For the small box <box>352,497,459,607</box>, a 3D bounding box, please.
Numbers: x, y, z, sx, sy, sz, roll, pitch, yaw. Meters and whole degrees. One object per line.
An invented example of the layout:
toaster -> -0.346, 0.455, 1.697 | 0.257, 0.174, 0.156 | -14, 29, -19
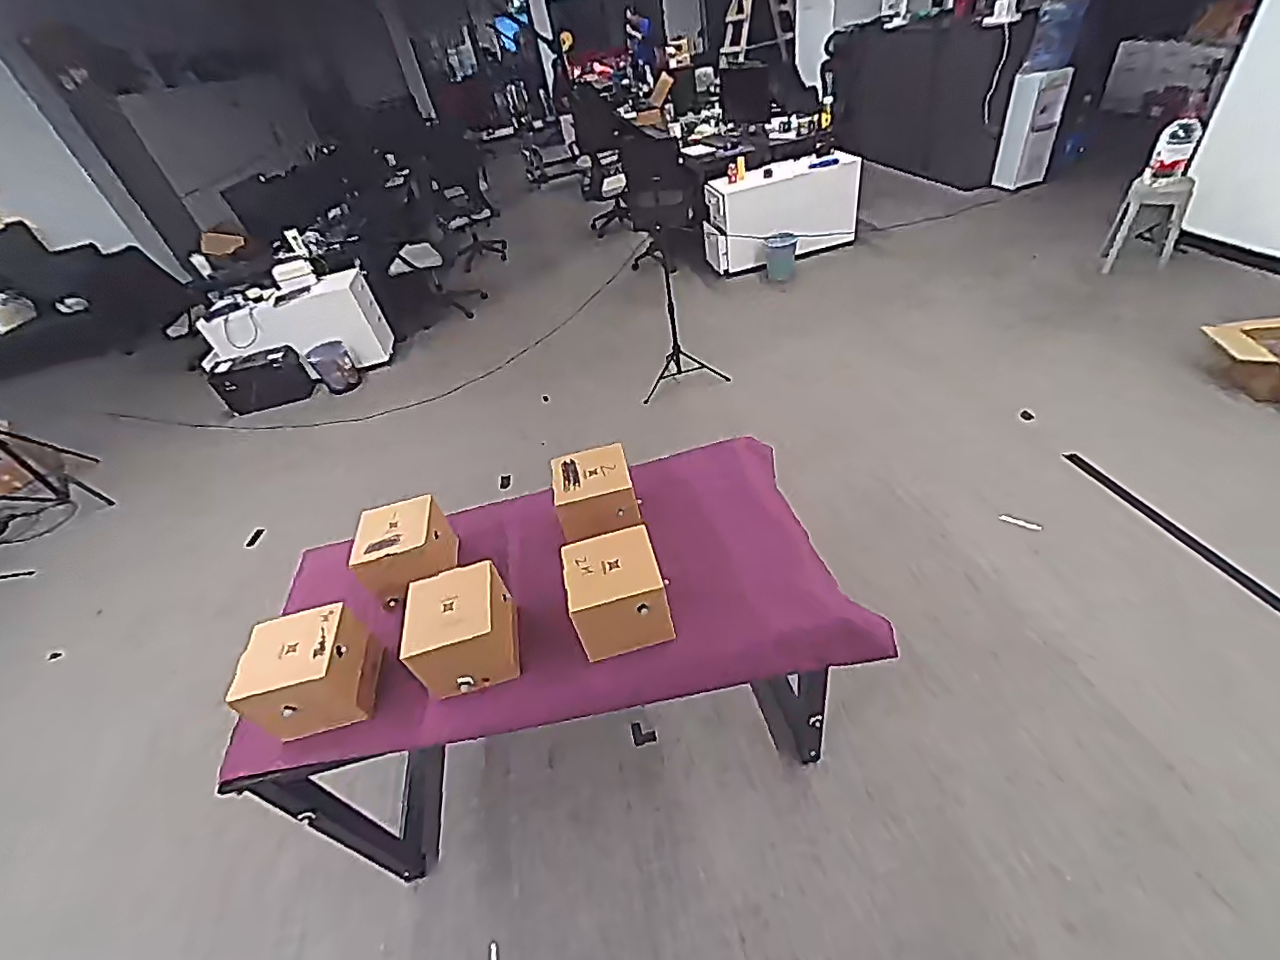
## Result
small box -> -0.534, 0.173, 1.258 | 0.168, 0.176, 0.179 | -15, 41, -3

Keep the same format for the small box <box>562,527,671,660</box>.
small box -> -0.043, 0.225, 1.065 | 0.179, 0.176, 0.168 | -16, 40, -2

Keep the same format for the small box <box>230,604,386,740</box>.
small box -> -0.628, 0.375, 1.049 | 0.179, 0.176, 0.168 | -15, 41, -2

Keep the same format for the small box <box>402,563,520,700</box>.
small box -> -0.343, 0.299, 1.065 | 0.168, 0.176, 0.179 | -16, 42, -3
